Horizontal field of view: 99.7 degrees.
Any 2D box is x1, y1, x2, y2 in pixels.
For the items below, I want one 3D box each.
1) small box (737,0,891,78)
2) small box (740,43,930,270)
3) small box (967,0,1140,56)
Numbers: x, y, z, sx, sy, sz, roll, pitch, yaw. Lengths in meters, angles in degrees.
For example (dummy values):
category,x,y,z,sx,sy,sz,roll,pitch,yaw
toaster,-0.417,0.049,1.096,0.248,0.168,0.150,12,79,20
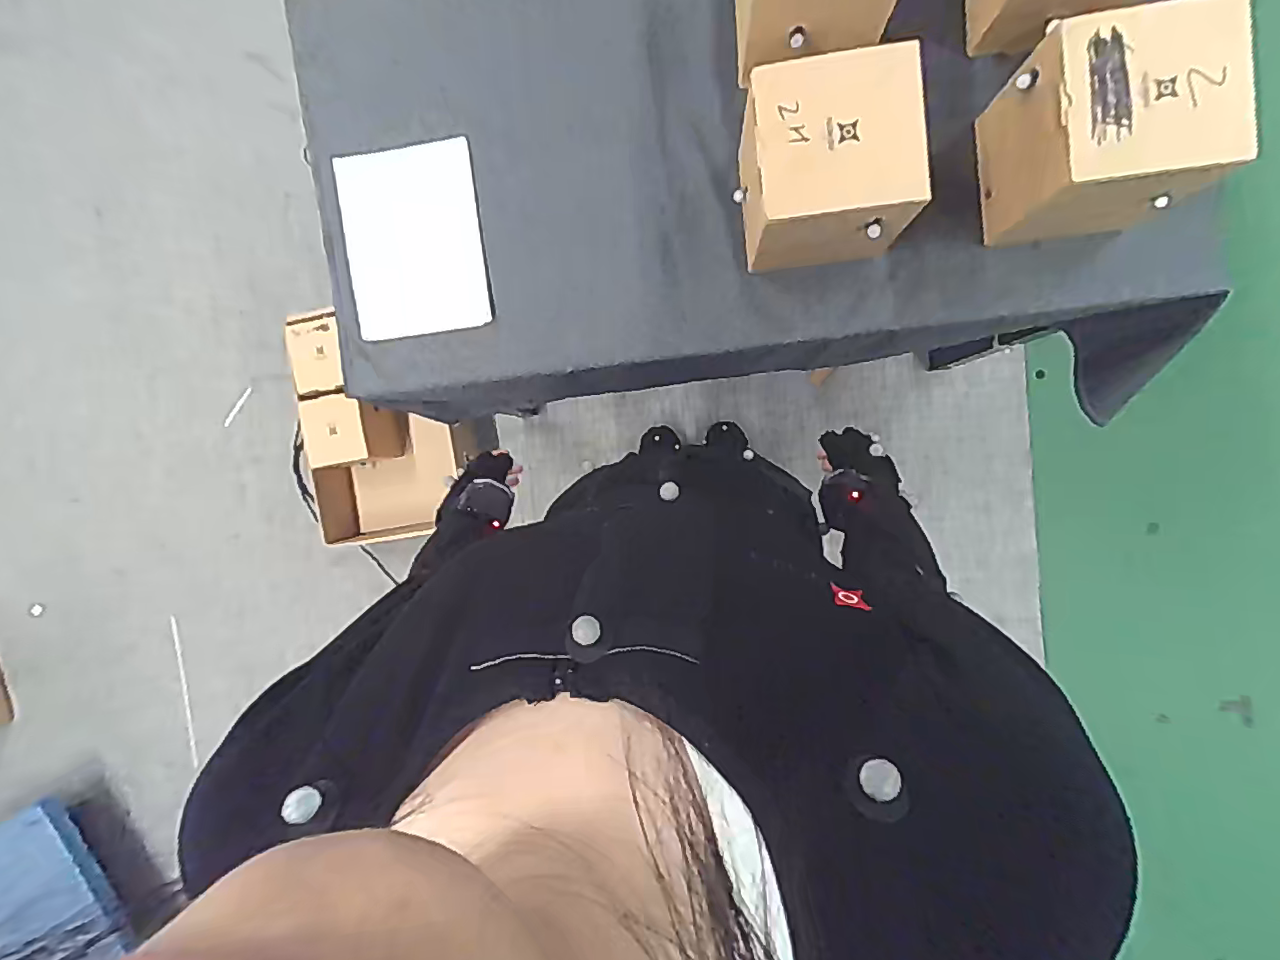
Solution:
category,x,y,z,sx,sy,sz,roll,pitch,yaw
small box,0.206,-0.615,0.643,0.168,0.176,0.179,-3,92,6
small box,0.221,-0.370,0.651,0.179,0.176,0.168,-5,91,7
small box,0.493,-0.634,0.610,0.168,0.176,0.179,-3,93,7
